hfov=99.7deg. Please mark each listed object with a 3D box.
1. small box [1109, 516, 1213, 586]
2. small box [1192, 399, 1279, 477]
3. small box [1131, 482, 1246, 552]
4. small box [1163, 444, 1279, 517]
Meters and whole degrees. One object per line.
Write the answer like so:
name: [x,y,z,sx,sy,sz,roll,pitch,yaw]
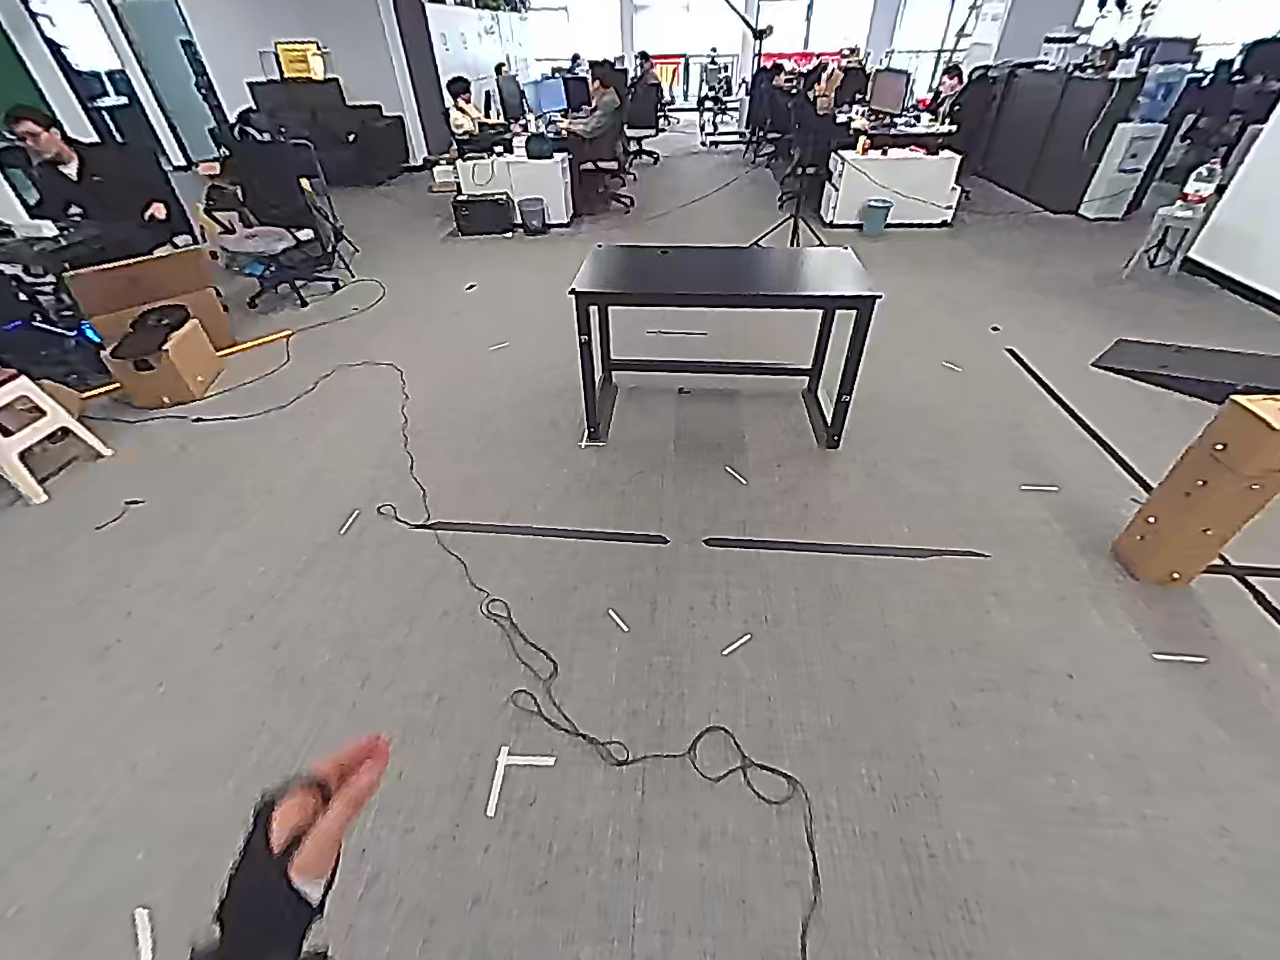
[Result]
small box: [1.823,0.250,1.907,0.168,0.176,0.179,2,40,5]
small box: [1.810,-0.123,1.588,0.168,0.176,0.179,1,41,4]
small box: [1.813,0.125,1.801,0.179,0.176,0.168,1,40,5]
small box: [1.811,0.002,1.695,0.179,0.176,0.168,2,41,4]
